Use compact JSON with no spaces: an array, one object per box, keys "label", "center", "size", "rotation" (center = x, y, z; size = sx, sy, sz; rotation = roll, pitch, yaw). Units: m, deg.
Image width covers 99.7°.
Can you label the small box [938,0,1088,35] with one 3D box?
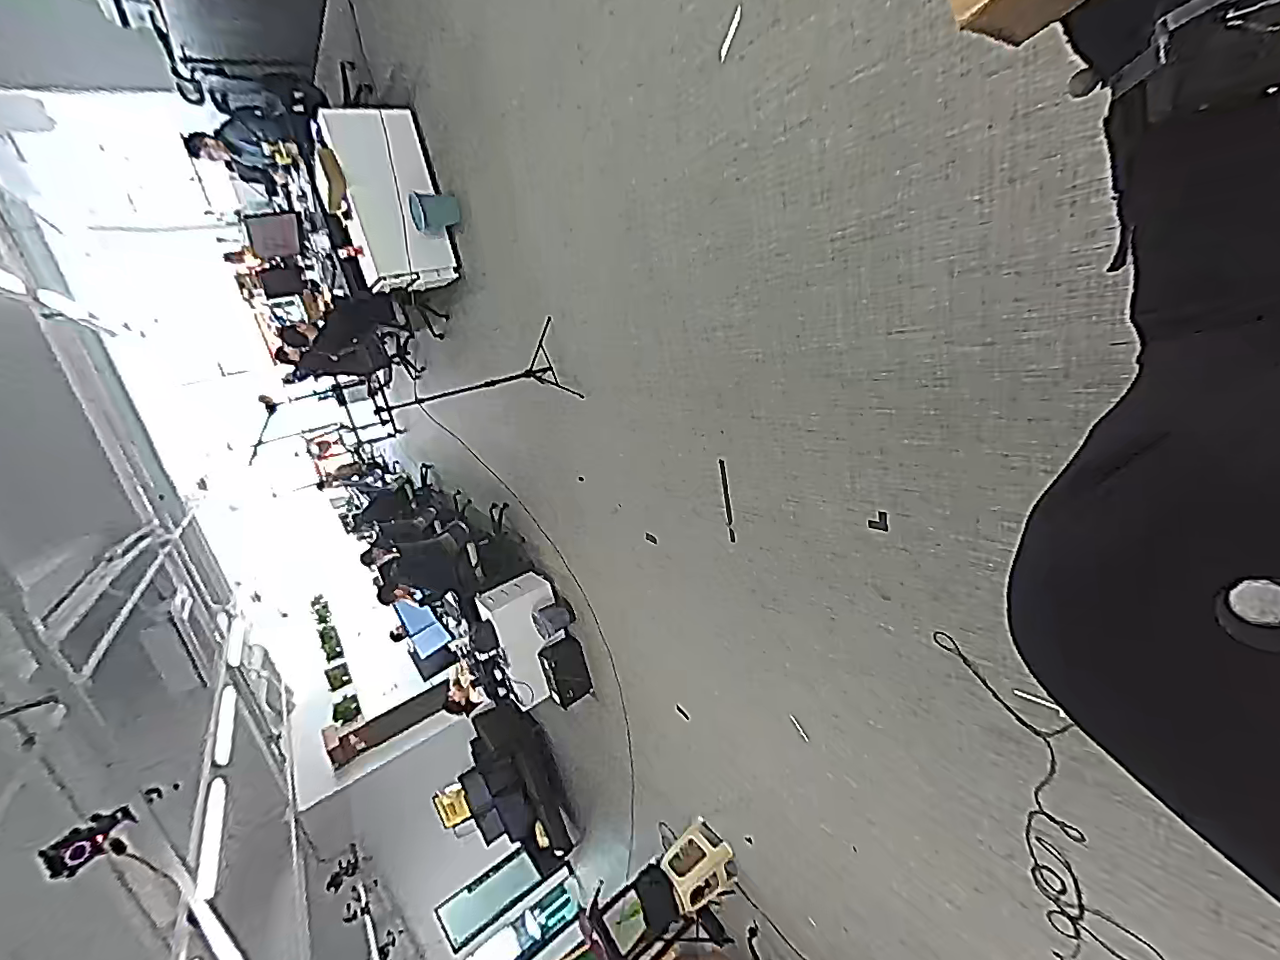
[{"label":"small box","center":[0.195,-0.329,0.220],"size":[0.168,0.176,0.179],"rotation":[-22,102,49]}]
